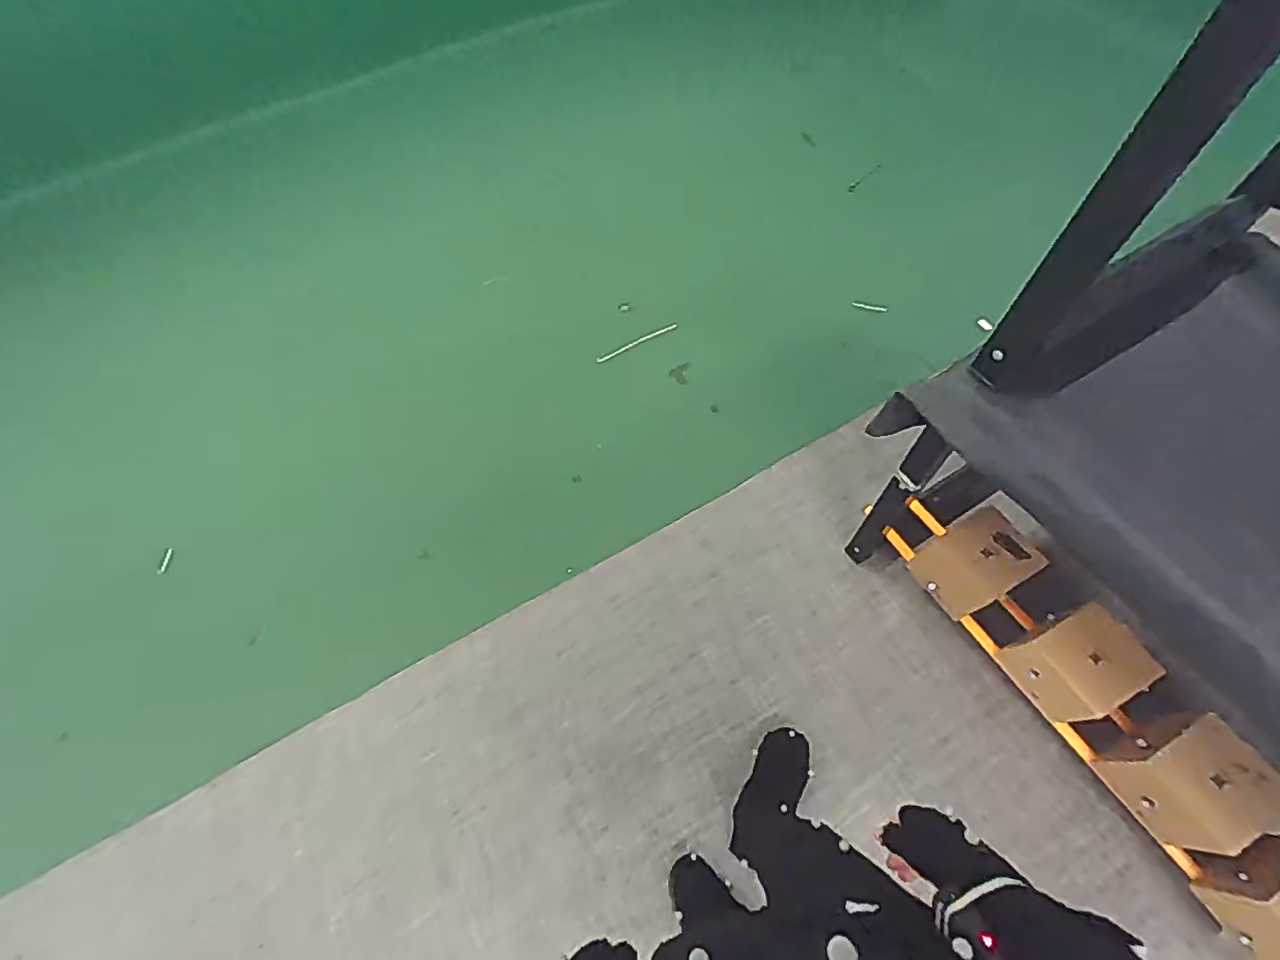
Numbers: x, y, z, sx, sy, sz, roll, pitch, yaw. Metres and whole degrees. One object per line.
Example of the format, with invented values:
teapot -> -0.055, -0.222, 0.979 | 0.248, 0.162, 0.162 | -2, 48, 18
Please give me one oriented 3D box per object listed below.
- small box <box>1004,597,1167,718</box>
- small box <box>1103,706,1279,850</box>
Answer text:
small box -> 0.907, 0.377, 1.129 | 0.179, 0.176, 0.168 | -28, 63, -9
small box -> 1.034, 0.556, 1.017 | 0.179, 0.176, 0.168 | -29, 63, -10
